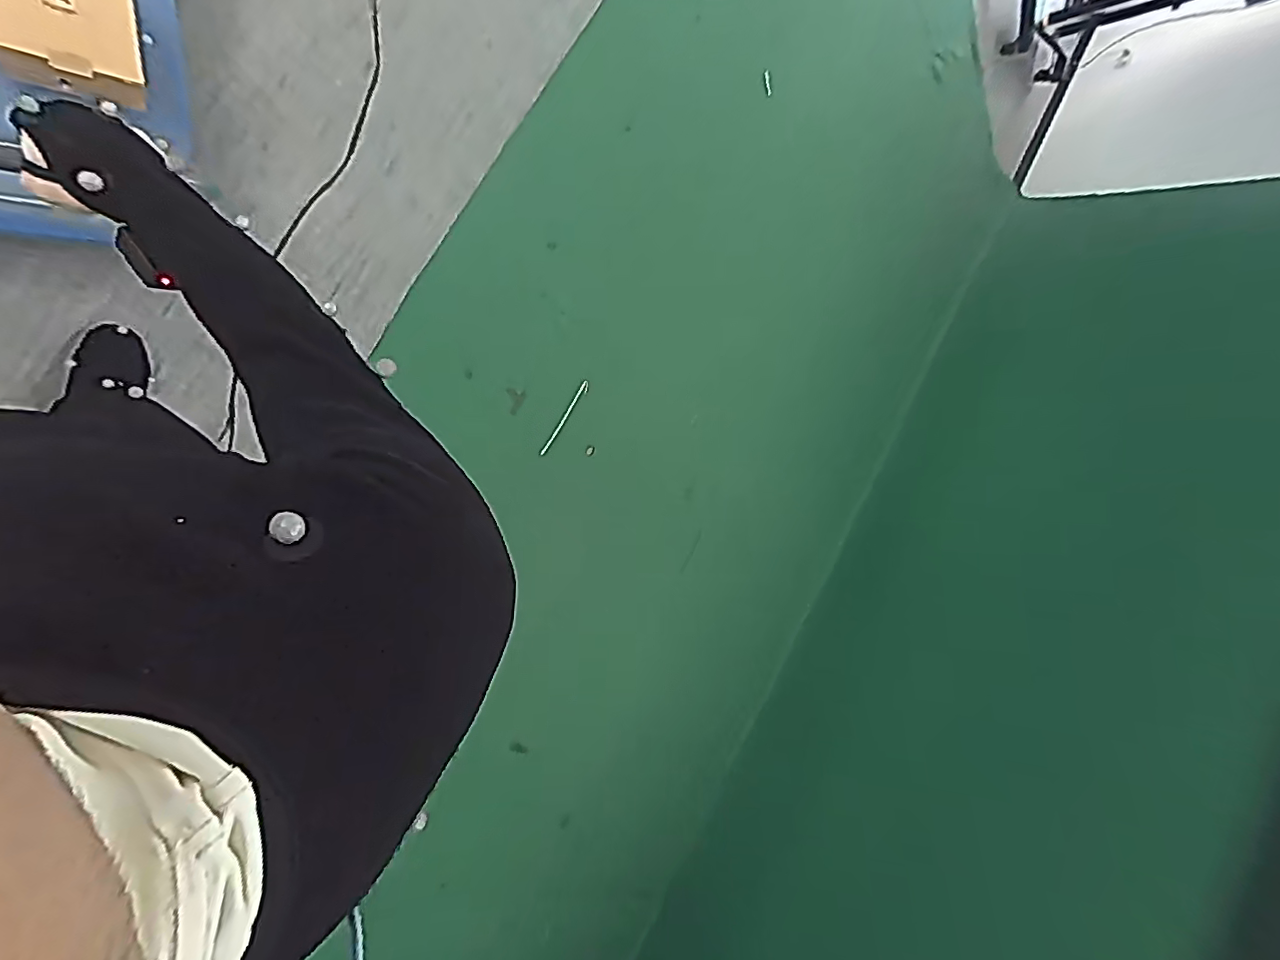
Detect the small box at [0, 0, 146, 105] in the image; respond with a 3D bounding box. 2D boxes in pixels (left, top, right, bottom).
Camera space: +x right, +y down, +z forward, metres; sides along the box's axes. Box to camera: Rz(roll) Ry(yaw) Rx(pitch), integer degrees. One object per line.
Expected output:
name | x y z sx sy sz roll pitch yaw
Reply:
small box | -0.888 -0.717 0.832 0.168 0.176 0.179 -9 112 -42
